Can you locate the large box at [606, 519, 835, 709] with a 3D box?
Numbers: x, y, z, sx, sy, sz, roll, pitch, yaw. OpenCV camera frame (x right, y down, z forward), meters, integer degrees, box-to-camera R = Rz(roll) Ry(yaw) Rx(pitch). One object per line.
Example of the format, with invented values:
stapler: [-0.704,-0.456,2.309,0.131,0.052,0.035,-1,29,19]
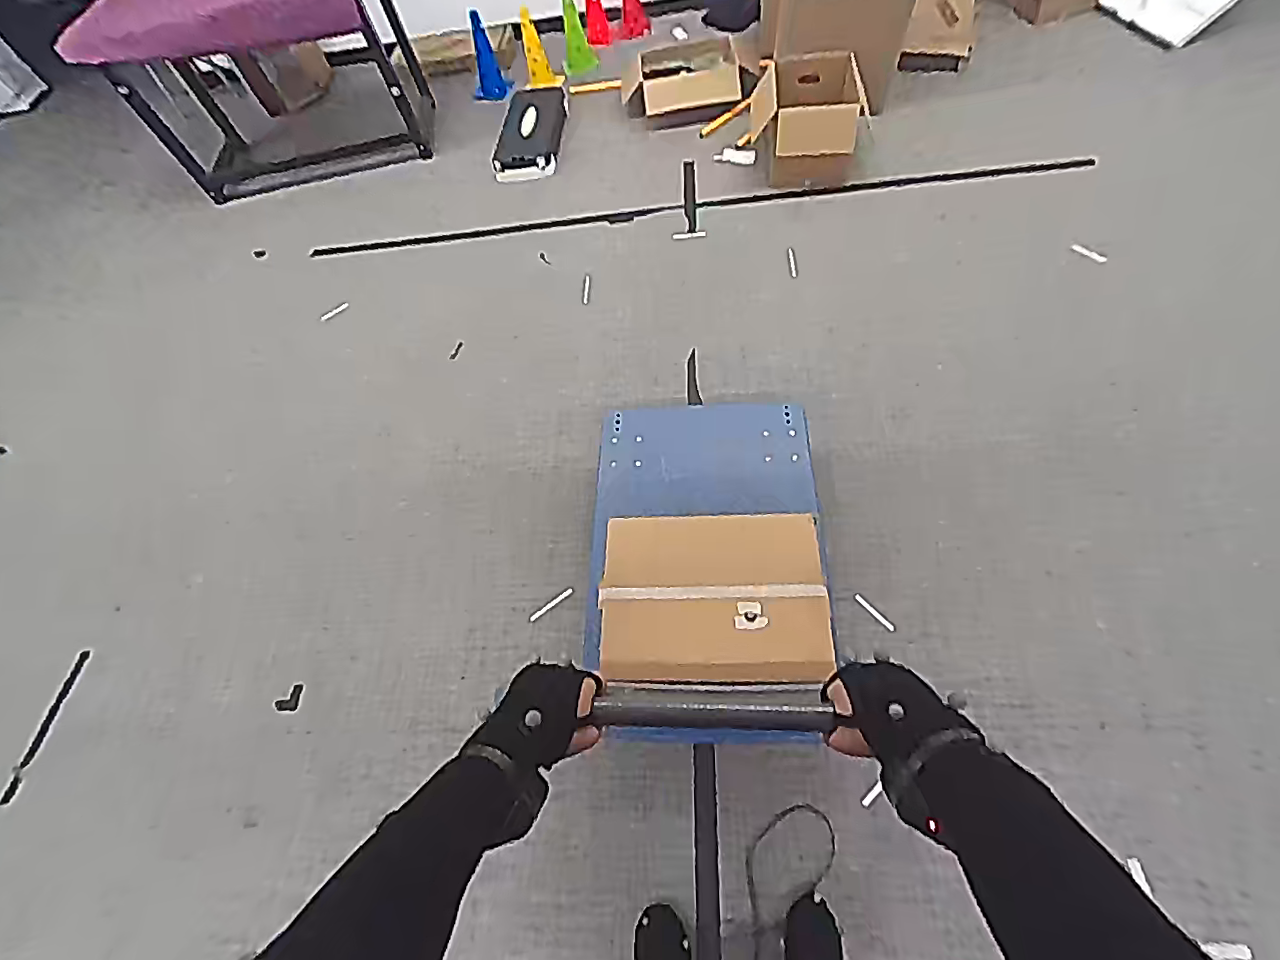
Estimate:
large box: [0.150,0.292,1.133,0.408,0.320,0.320,-2,61,6]
